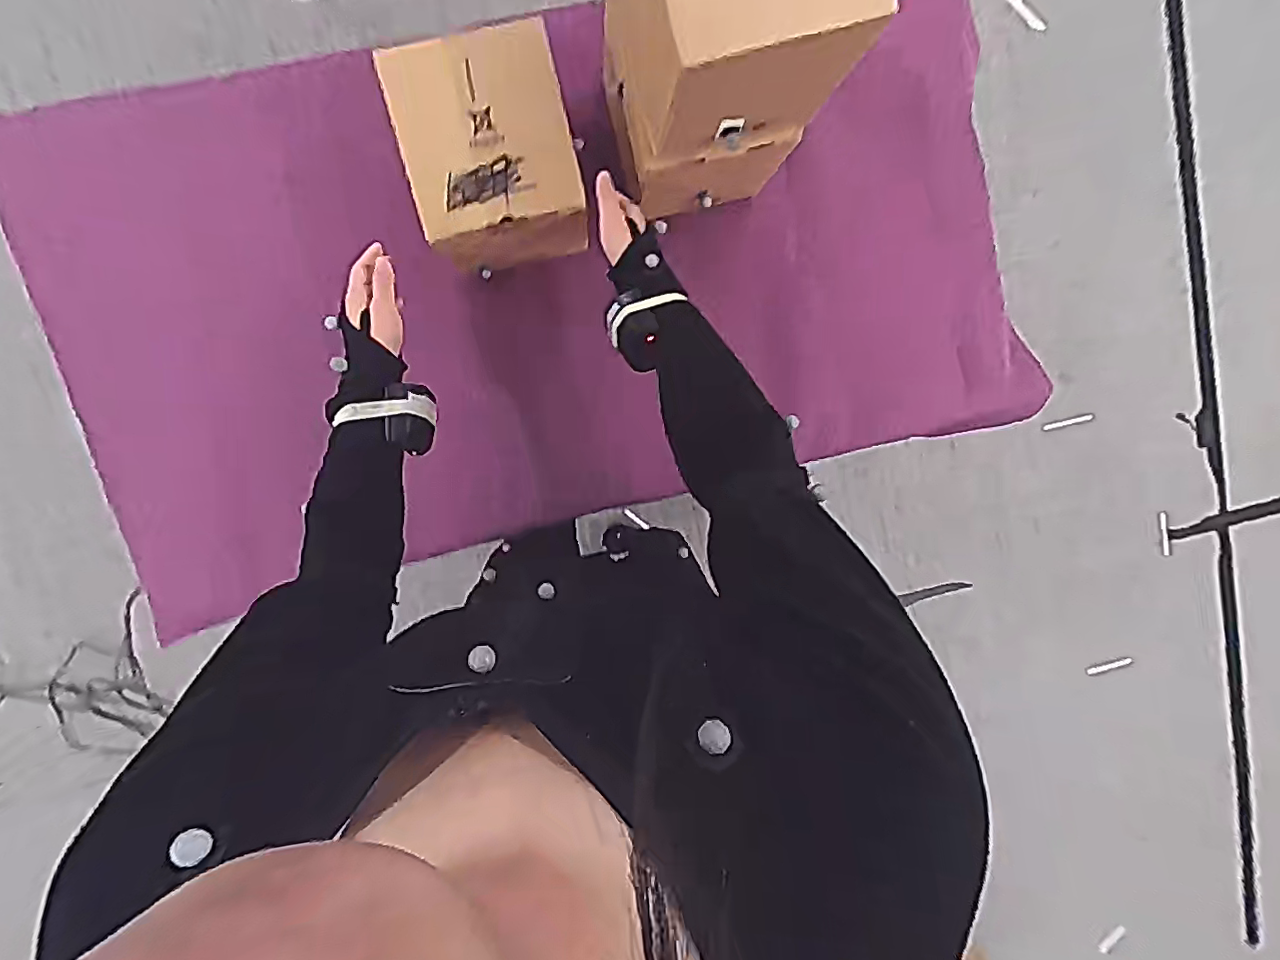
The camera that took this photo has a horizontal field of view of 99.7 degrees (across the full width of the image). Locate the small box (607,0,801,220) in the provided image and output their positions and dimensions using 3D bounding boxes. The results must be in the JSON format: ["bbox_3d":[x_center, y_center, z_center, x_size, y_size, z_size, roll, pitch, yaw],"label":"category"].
[{"bbox_3d":[0.060,-0.426,0.613,0.168,0.176,0.179,-14,100,-2],"label":"small box"}]

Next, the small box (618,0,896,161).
[{"bbox_3d":[0.079,-0.408,0.452,0.168,0.176,0.179,-16,100,-2],"label":"small box"}]

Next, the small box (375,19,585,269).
[{"bbox_3d":[-0.159,-0.349,0.603,0.168,0.176,0.179,-14,99,-3],"label":"small box"}]
